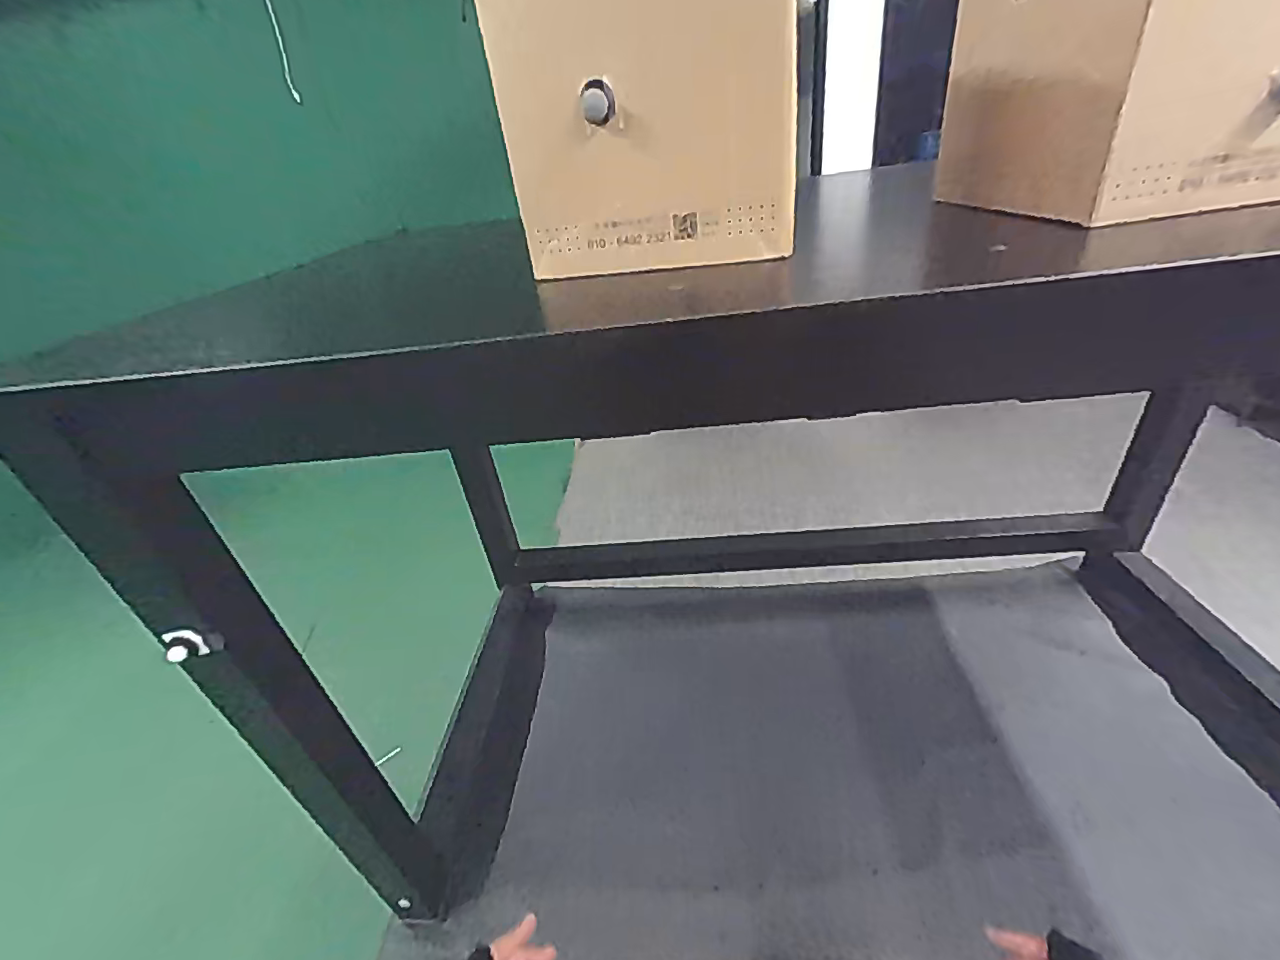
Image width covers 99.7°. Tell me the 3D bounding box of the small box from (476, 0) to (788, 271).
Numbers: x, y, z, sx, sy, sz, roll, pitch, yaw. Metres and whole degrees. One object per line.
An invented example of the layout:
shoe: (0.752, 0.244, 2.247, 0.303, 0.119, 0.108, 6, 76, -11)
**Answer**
small box: (0.017, -0.249, 0.376, 0.168, 0.176, 0.179, 0, 31, 14)

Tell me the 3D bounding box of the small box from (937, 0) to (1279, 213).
small box: (0.306, -0.265, 0.324, 0.168, 0.176, 0.179, -8, 31, 3)
